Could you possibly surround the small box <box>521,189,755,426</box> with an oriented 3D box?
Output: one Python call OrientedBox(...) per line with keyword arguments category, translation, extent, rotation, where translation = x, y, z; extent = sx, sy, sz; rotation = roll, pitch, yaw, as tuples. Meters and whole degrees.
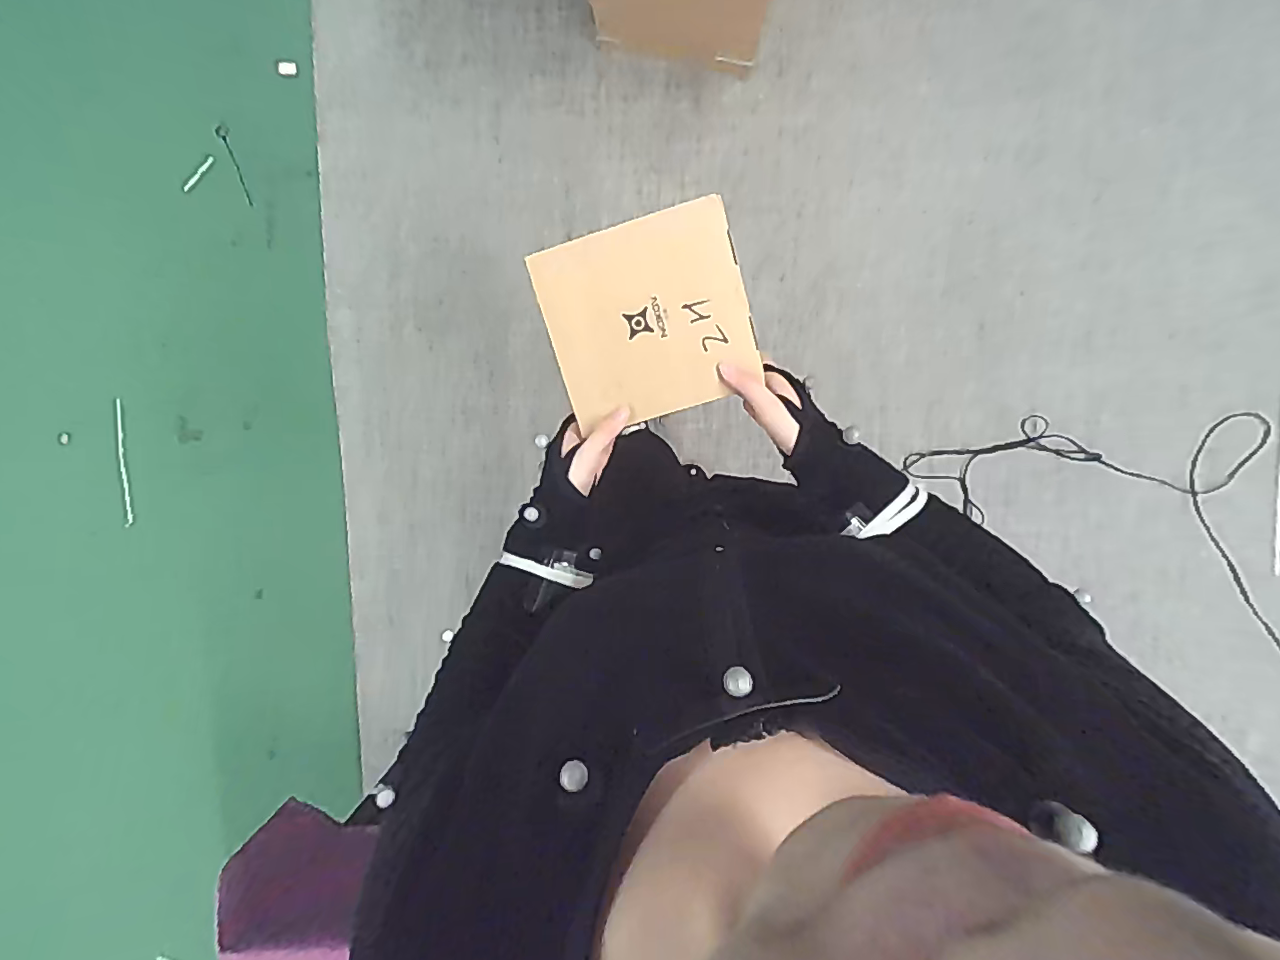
OrientedBox(category="small box", translation=(0.004, -0.163, 0.551), extent=(0.179, 0.176, 0.168), rotation=(-15, 102, 6))
